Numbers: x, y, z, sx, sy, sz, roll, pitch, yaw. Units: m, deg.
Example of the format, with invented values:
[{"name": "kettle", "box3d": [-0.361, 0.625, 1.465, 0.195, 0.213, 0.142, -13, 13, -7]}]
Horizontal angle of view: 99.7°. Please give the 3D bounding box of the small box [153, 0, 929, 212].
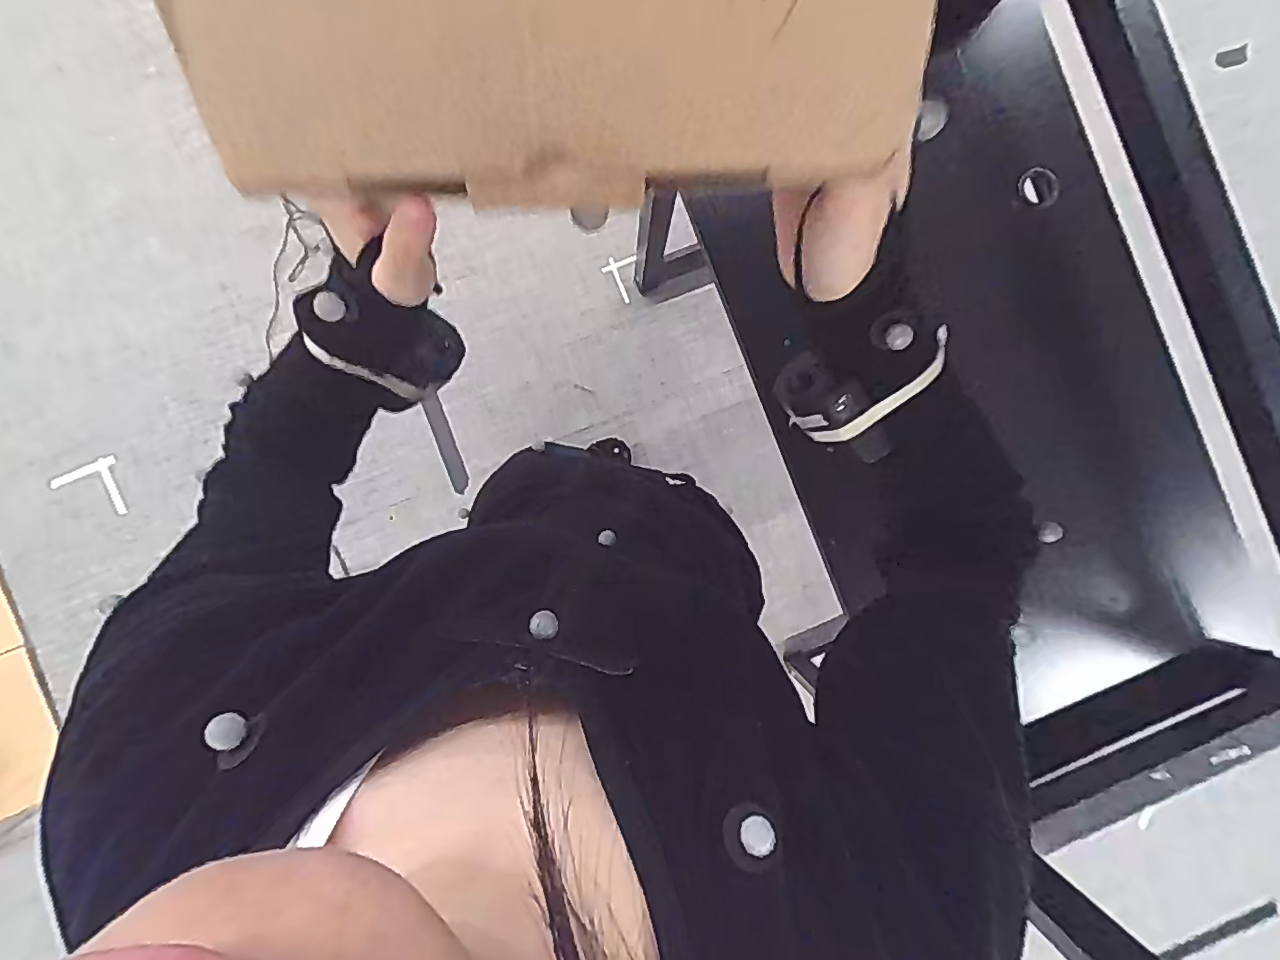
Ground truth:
[{"name": "small box", "box3d": [-0.021, -0.185, 0.157, 0.168, 0.176, 0.179, -2, 121, 0]}]
